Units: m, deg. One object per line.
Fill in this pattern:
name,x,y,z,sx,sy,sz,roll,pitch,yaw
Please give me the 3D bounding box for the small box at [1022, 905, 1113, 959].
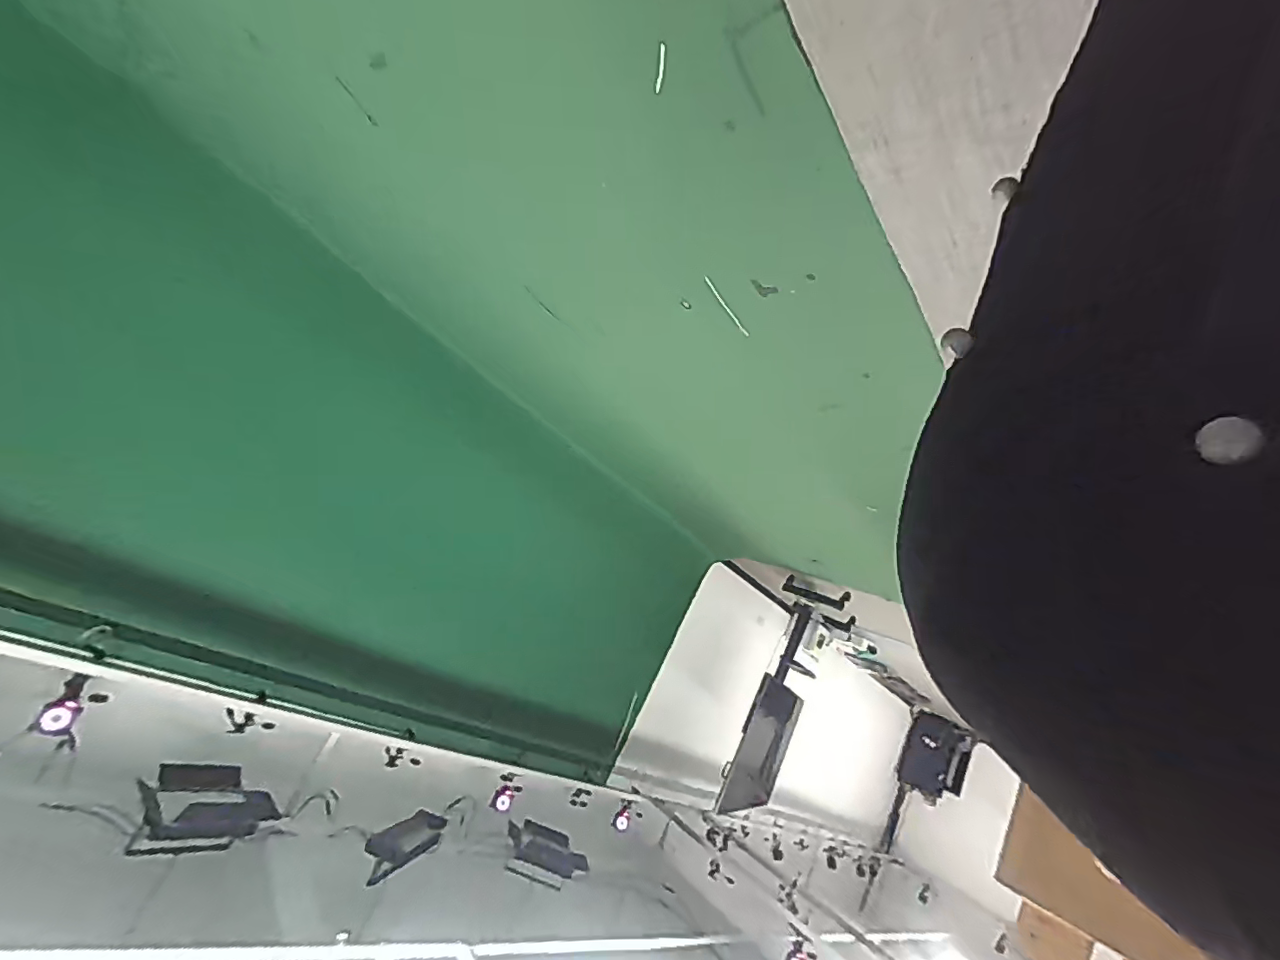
small box,1.338,1.478,1.691,0.179,0.176,0.168,39,163,-27
